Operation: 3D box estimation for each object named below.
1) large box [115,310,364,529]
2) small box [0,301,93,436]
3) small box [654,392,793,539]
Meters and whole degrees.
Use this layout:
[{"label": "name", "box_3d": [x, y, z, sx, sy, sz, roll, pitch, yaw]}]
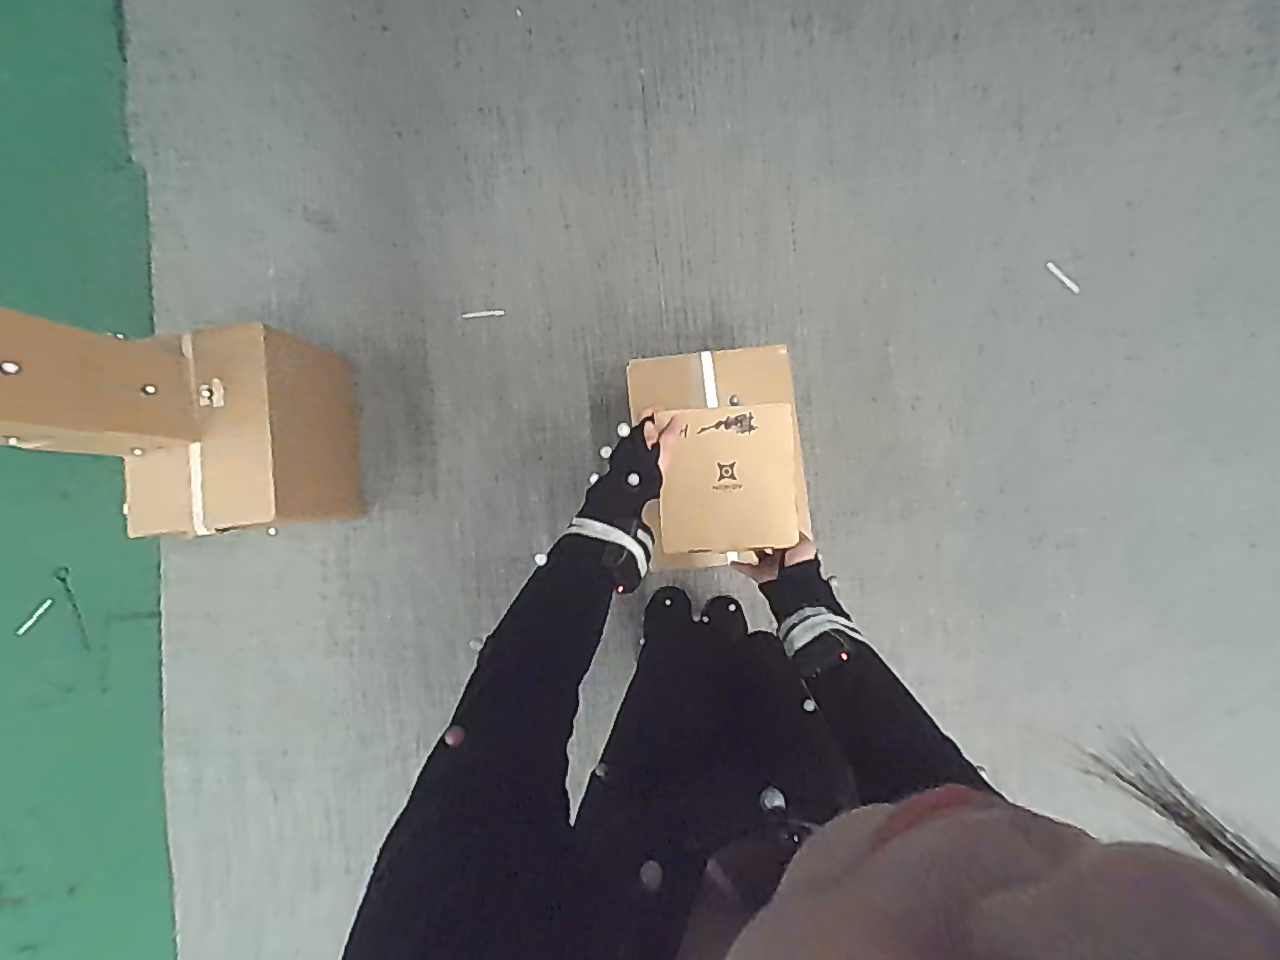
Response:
[{"label": "large box", "box_3d": [-0.866, -0.113, 1.209, 0.320, 0.320, 0.408, -6, 88, 4]}, {"label": "small box", "box_3d": [-0.986, -0.167, 0.811, 0.168, 0.176, 0.179, -7, 90, 7]}, {"label": "small box", "box_3d": [0.105, -0.022, 0.727, 0.168, 0.176, 0.179, -1, 93, 2]}]
